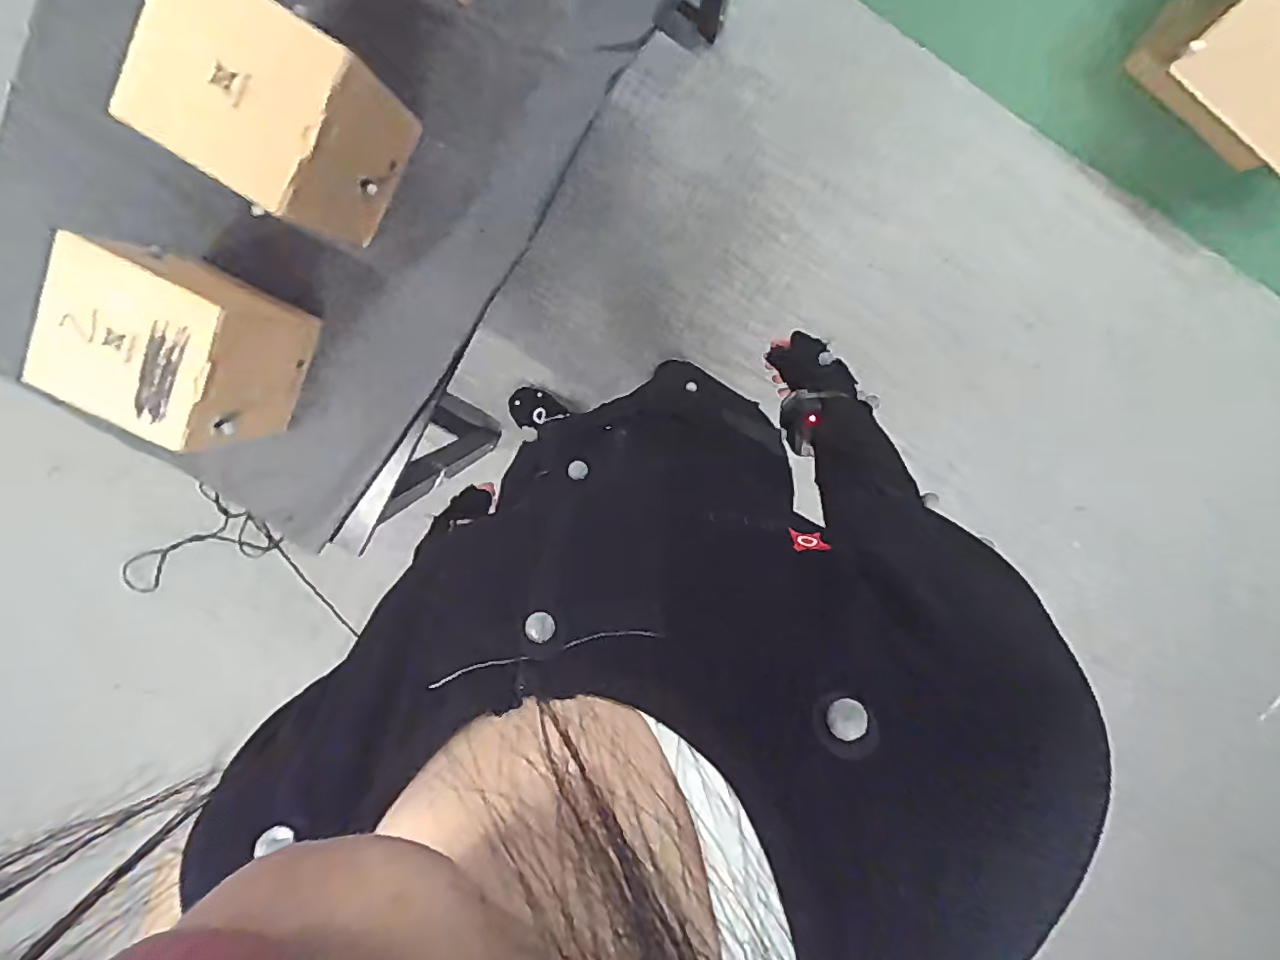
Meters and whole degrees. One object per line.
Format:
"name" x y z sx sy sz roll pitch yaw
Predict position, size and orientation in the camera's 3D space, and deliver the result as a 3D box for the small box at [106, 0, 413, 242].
"small box" -0.382 -0.382 0.576 0.179 0.176 0.168 30 101 -8
